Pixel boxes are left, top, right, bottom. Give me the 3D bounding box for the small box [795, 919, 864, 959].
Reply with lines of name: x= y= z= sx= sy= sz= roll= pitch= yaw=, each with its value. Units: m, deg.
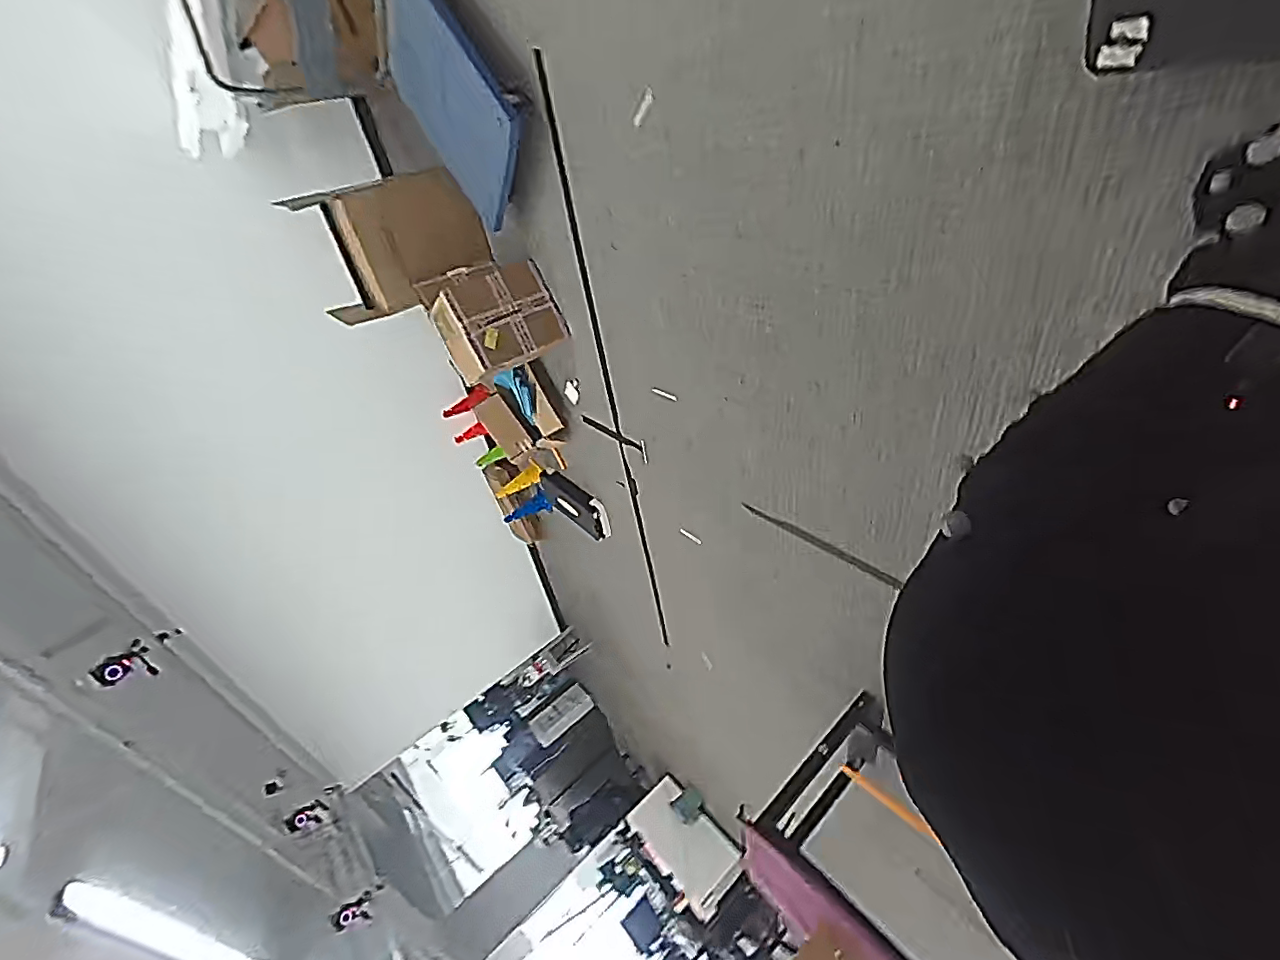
small box: x=0.619 y=1.591 z=1.760 sx=0.168 sy=0.176 sz=0.179 roll=31 pitch=143 yaw=40
